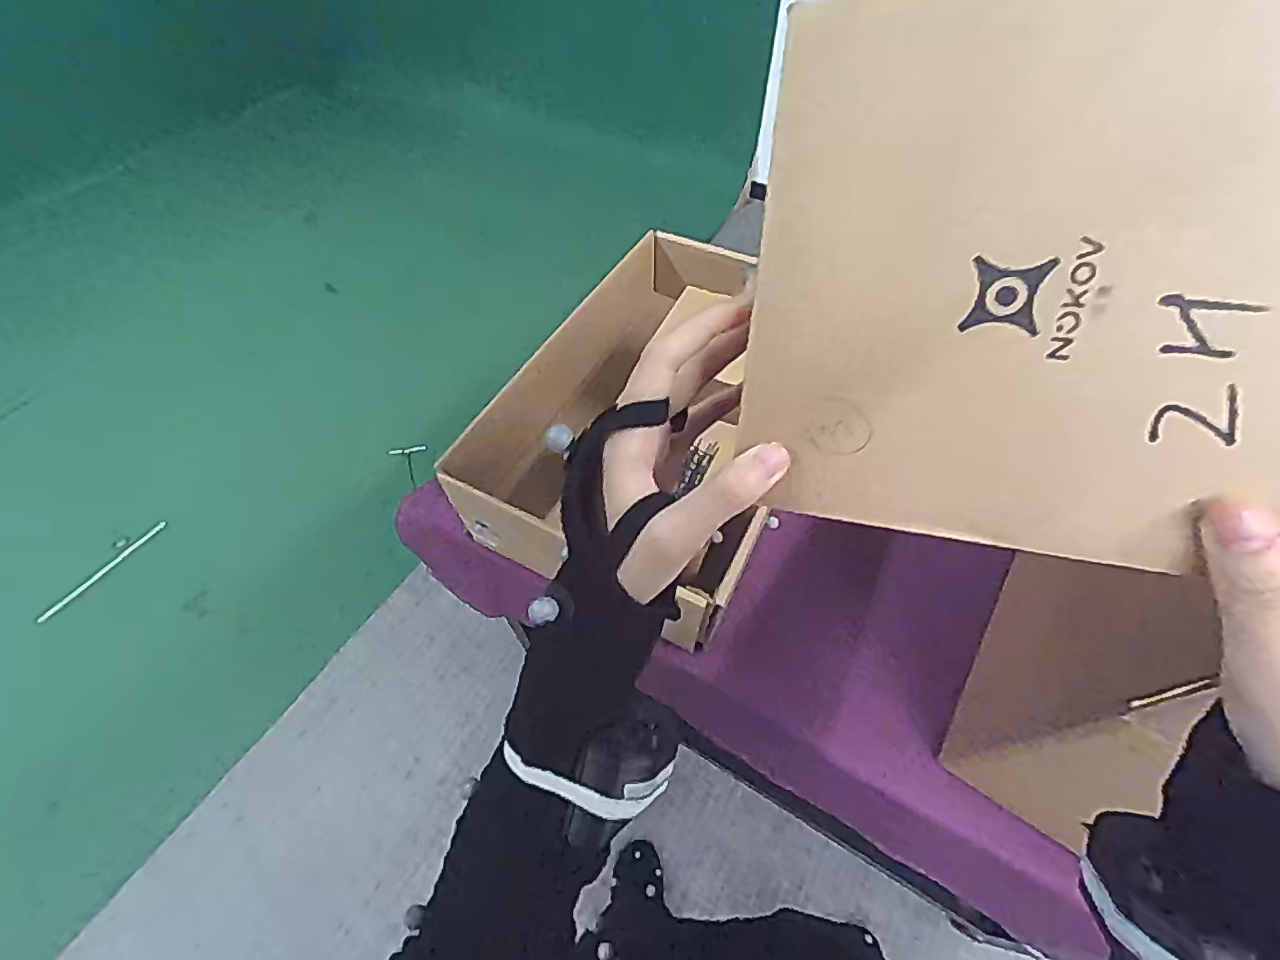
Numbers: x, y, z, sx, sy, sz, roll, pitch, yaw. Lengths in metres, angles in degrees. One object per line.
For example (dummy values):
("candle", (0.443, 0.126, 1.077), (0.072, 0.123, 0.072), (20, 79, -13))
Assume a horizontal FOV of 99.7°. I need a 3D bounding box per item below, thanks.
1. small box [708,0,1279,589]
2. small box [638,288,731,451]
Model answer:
("small box", (0.140, -0.077, 0.247), (0.179, 0.168, 0.176), (9, 21, 15))
("small box", (0.110, -0.164, 0.845), (0.168, 0.176, 0.179), (20, 58, 16))
